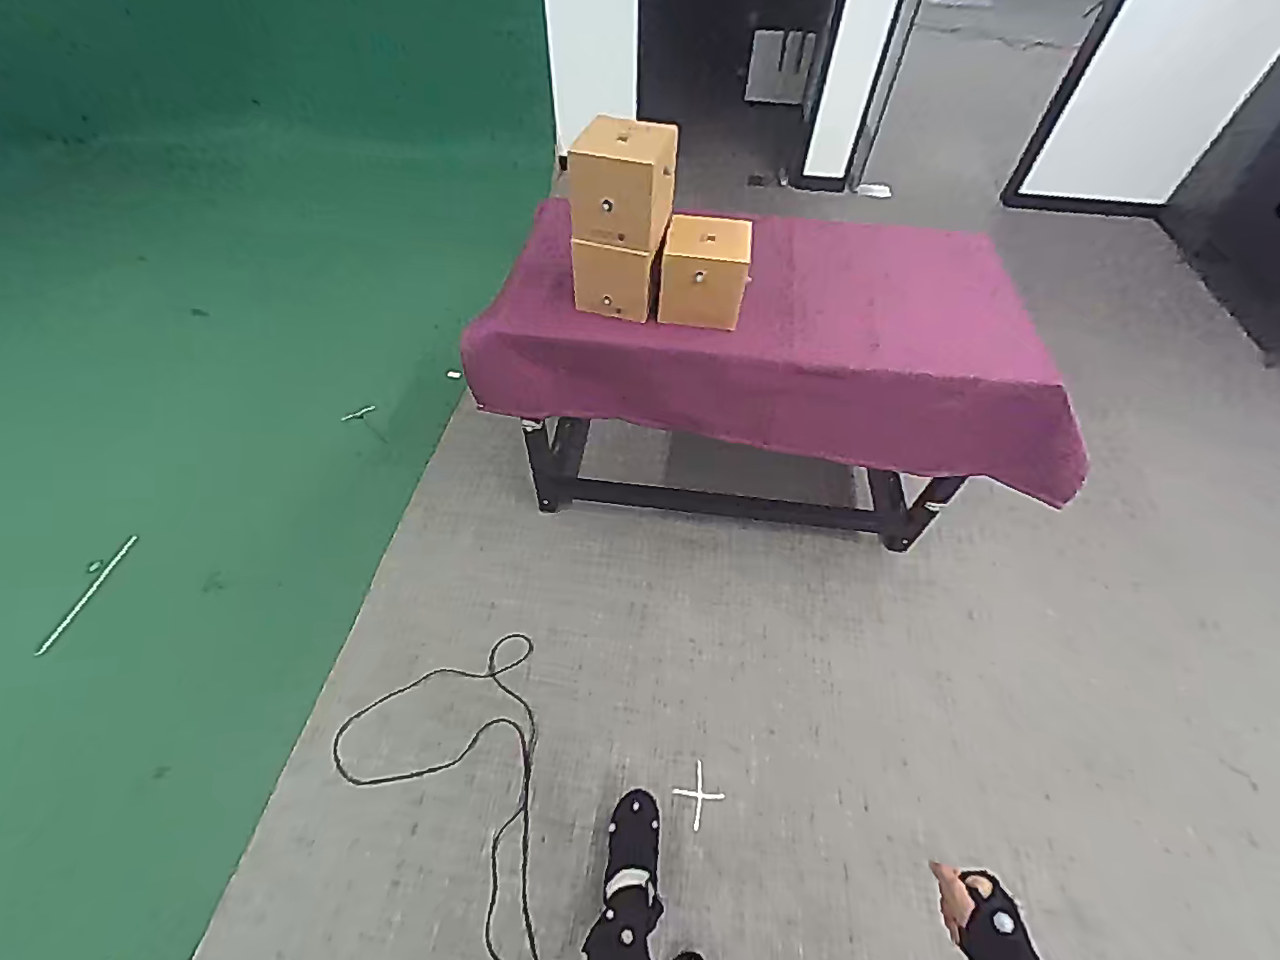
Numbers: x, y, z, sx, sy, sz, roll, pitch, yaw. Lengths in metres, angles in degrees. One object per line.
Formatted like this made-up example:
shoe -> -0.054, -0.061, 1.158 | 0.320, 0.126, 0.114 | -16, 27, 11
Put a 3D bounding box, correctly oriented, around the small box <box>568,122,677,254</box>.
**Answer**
small box -> -0.031, -0.578, 1.076 | 0.168, 0.176, 0.179 | 15, 53, 8
